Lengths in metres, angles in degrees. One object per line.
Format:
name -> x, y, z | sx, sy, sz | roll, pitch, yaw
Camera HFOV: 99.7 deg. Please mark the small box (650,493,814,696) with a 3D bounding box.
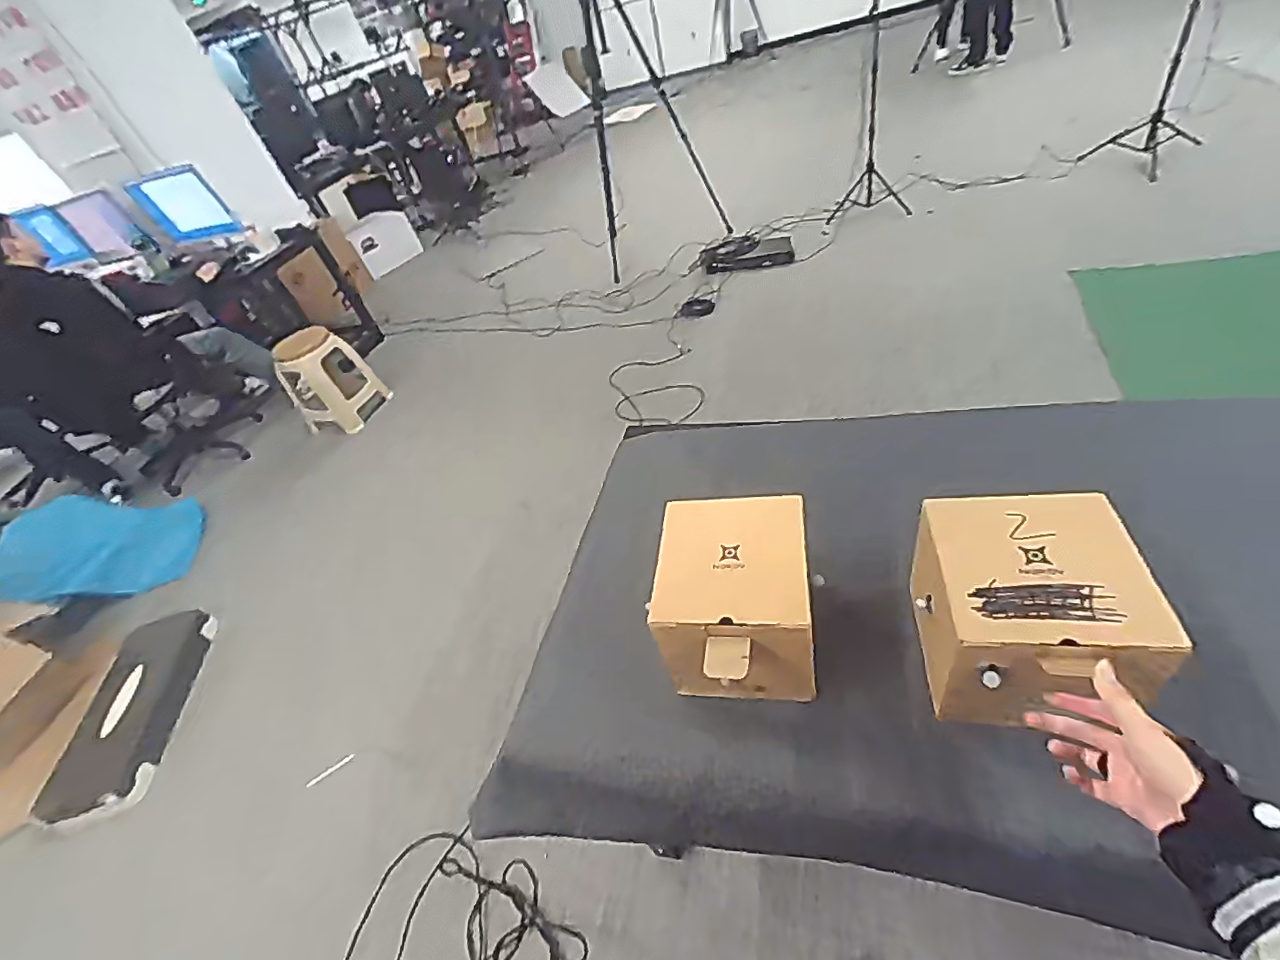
small box -> 0.119, 0.137, 0.655 | 0.168, 0.176, 0.179 | -3, 45, 16
